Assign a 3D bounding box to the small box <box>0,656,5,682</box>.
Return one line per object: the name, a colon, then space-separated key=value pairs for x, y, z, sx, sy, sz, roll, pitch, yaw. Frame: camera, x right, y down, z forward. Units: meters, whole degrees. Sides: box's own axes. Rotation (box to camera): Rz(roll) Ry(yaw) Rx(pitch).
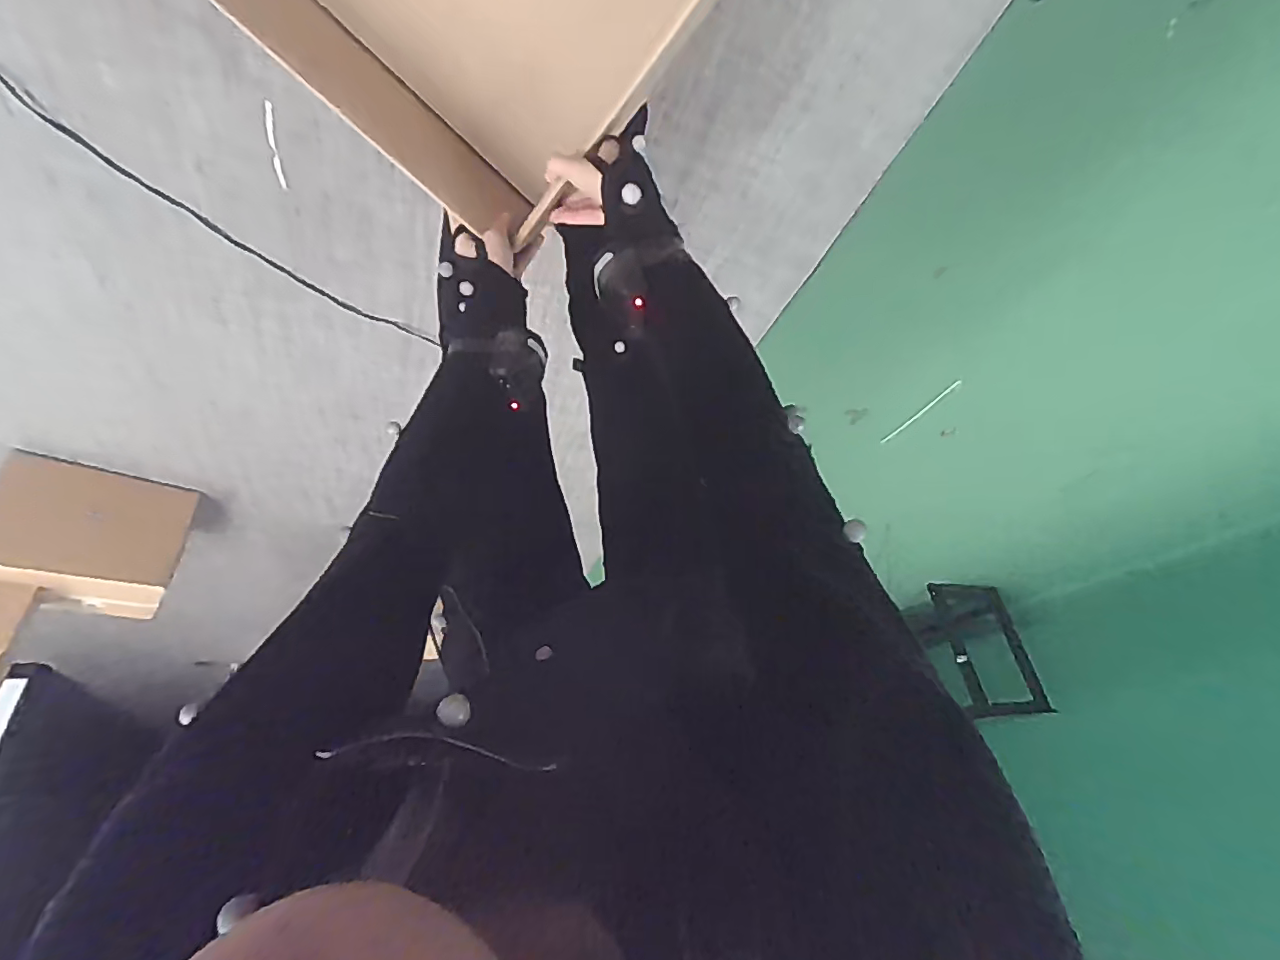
small box: x=-1.633 y=0.497 z=1.252 sx=0.168 sy=0.176 sz=0.179 roll=19 pitch=140 yaw=-36
